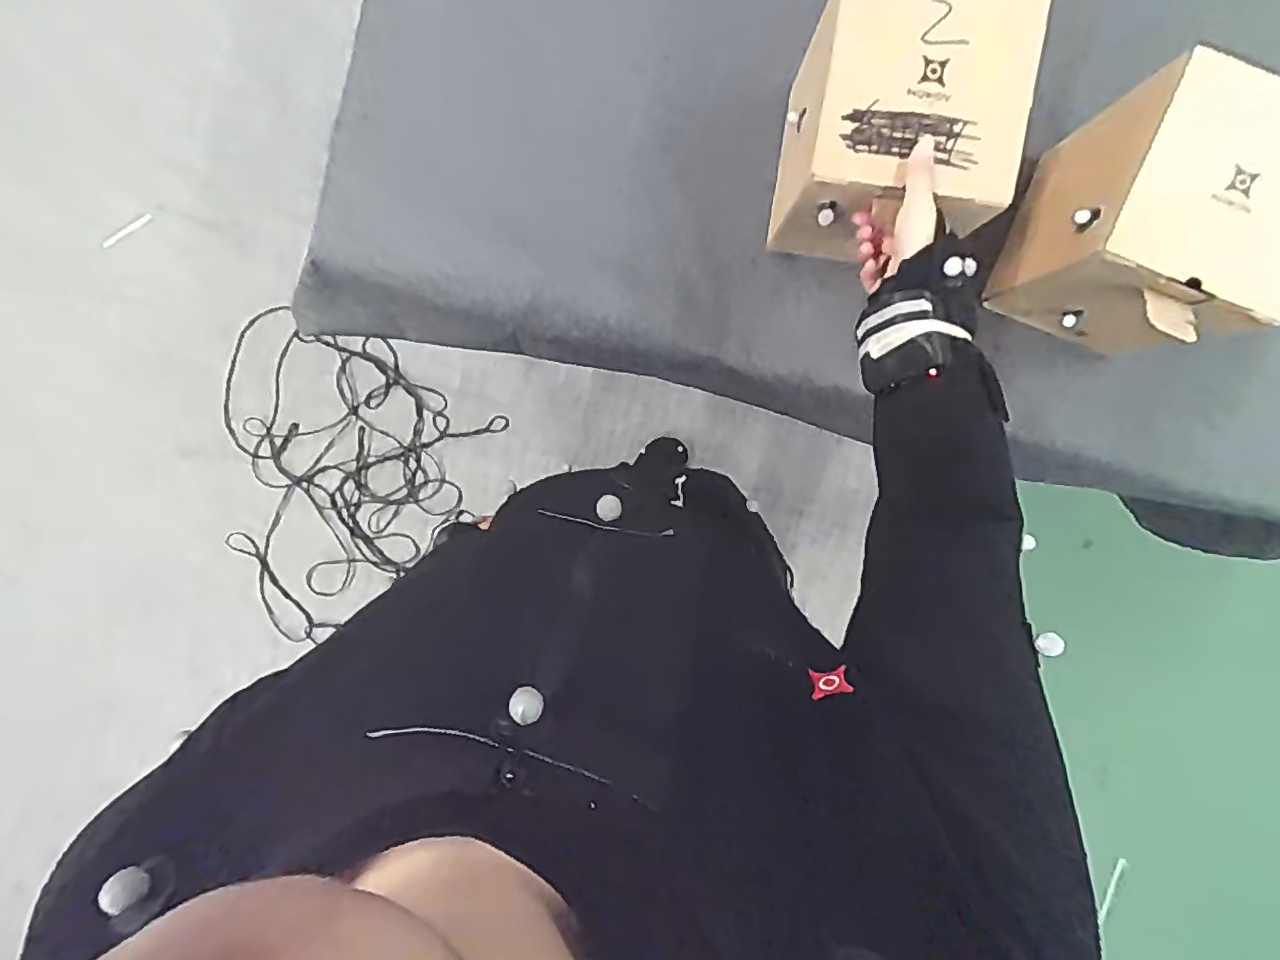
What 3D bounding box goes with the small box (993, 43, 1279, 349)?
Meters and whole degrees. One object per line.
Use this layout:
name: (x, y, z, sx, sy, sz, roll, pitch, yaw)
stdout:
small box: (0.487, -0.245, 0.517, 0.168, 0.176, 0.179, 21, 95, -1)
